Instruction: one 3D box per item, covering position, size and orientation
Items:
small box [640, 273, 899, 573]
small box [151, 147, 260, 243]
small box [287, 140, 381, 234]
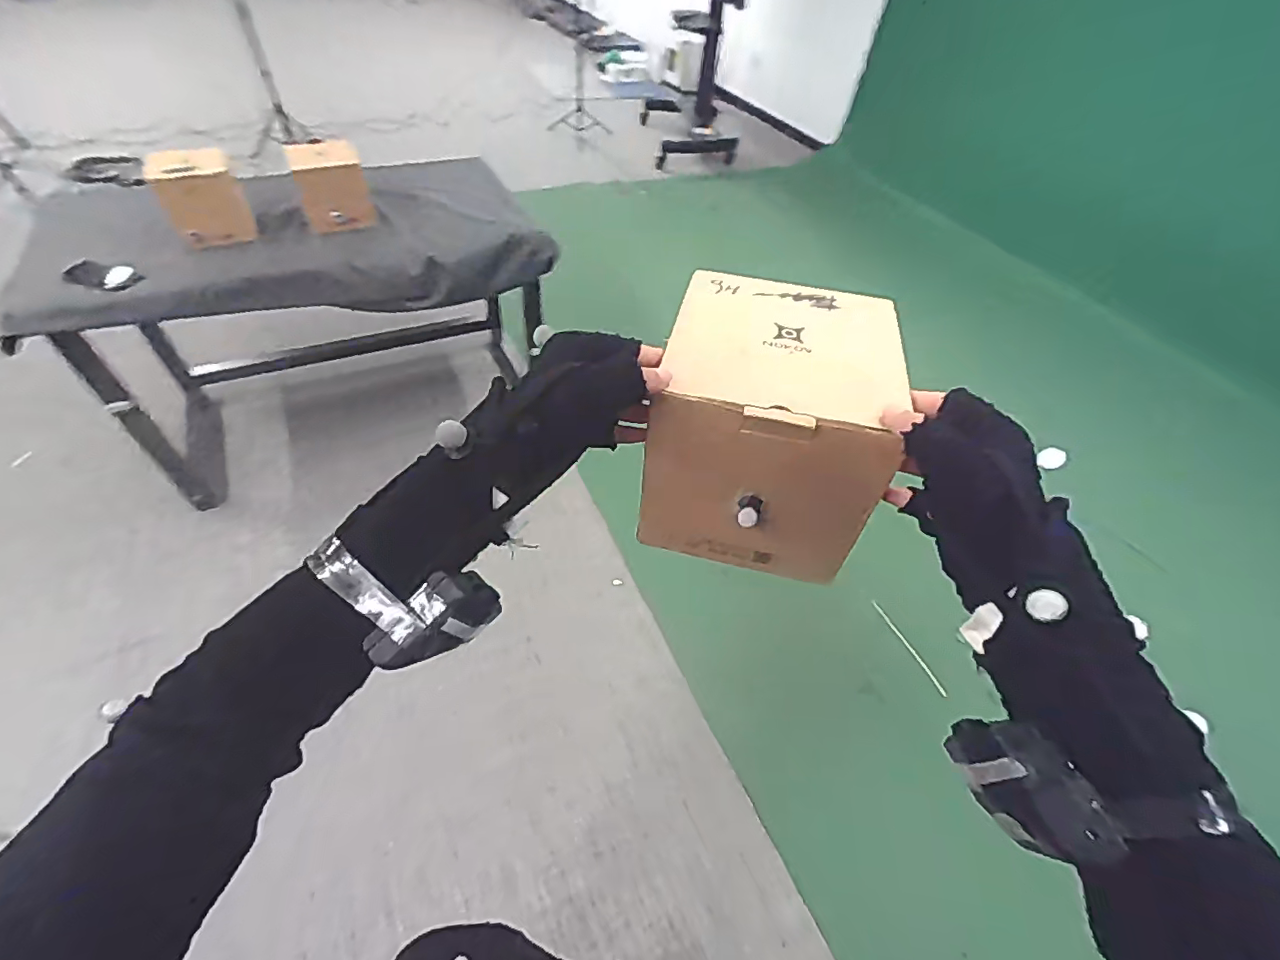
[{"bbox_3d":[0.097,-0.046,0.456,0.168,0.176,0.179,11,48,6],"label":"small box"},{"bbox_3d":[-1.094,-0.717,1.371,0.168,0.176,0.179,-20,53,-22],"label":"small box"},{"bbox_3d":[-0.830,-0.799,1.475,0.168,0.176,0.179,-22,55,-21],"label":"small box"}]
